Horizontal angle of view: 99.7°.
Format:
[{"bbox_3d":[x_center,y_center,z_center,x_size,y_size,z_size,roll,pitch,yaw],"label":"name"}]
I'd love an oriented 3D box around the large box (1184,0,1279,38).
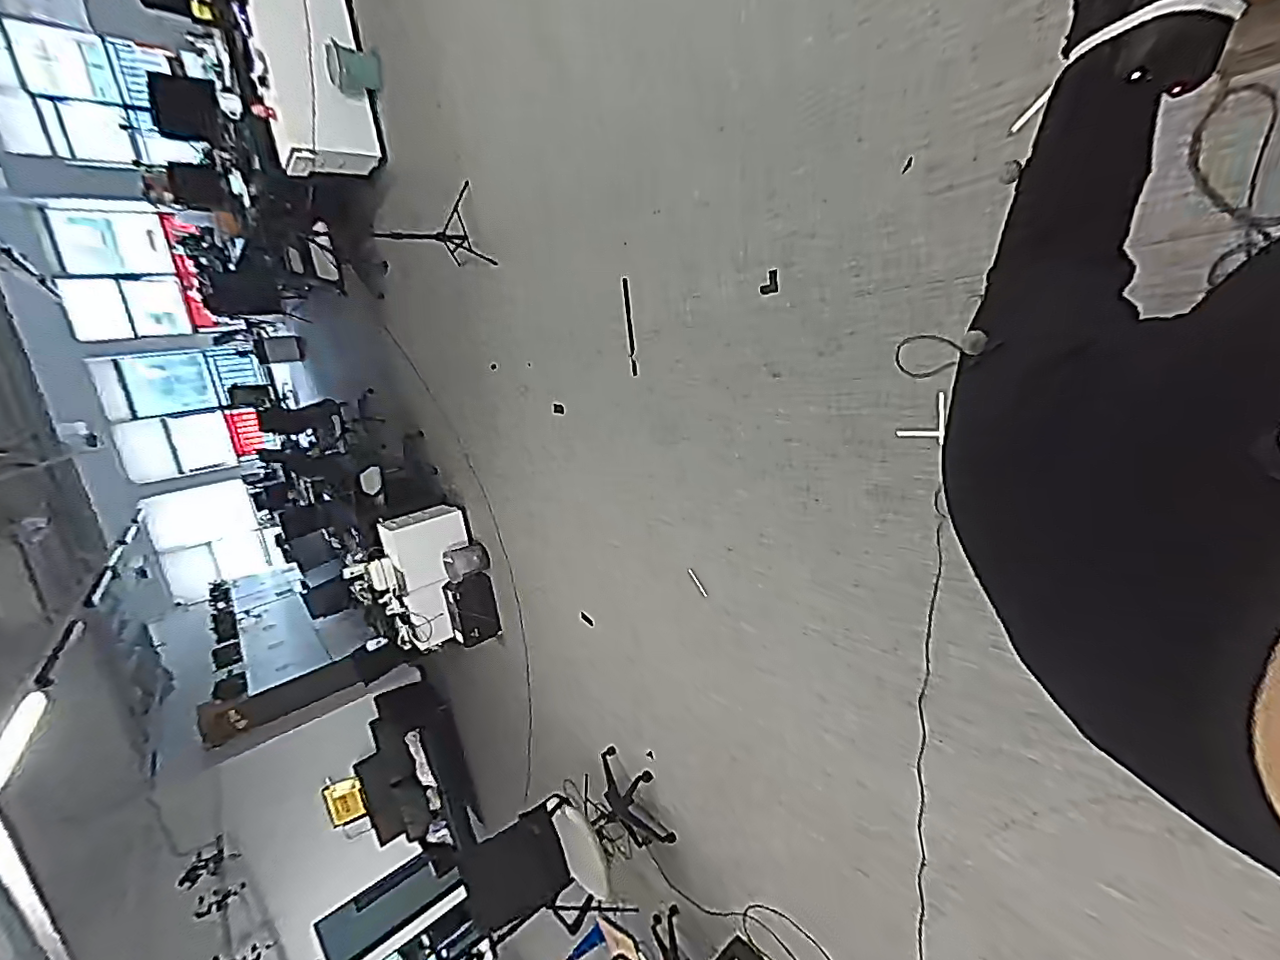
[{"bbox_3d":[0.589,-0.517,0.276,0.408,0.320,0.320,10,120,51],"label":"large box"}]
